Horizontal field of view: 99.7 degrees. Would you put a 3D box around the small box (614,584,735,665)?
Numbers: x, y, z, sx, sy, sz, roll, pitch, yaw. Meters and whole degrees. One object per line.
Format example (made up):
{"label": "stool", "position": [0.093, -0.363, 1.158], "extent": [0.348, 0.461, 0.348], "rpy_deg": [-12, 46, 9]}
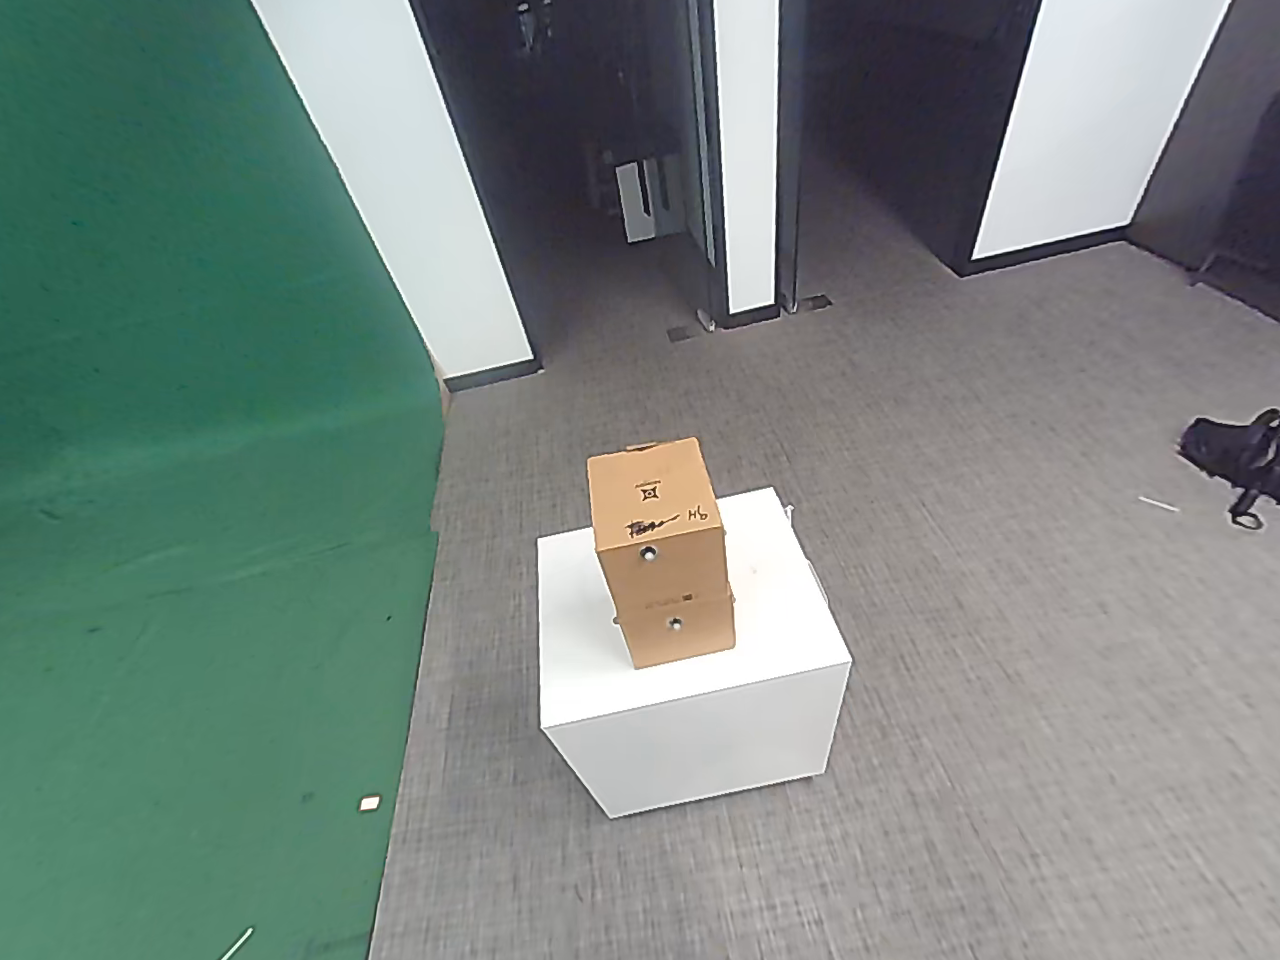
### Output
{"label": "small box", "position": [0.055, 0.190, 0.910], "extent": [0.179, 0.176, 0.168], "rpy_deg": [-12, 45, 0]}

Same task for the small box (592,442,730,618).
{"label": "small box", "position": [0.031, 0.074, 0.800], "extent": [0.168, 0.176, 0.179], "rpy_deg": [-13, 45, -1]}
